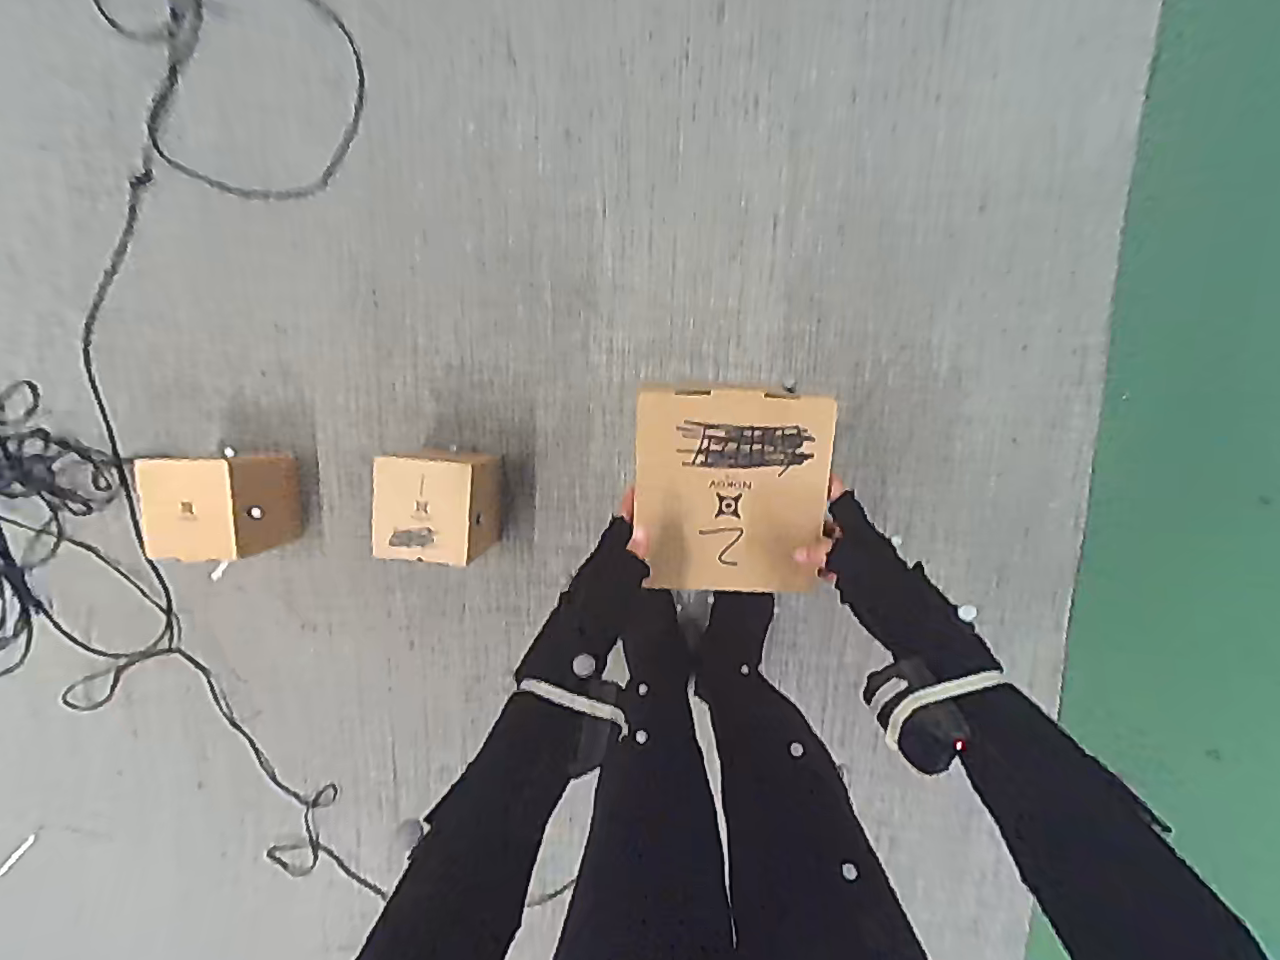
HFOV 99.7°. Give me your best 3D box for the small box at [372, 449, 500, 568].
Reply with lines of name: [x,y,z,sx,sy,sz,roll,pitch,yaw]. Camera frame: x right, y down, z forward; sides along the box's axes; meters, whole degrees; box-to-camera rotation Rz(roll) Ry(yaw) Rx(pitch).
small box: [-0.361,0.044,0.981,0.168,0.176,0.179,6,98,3]

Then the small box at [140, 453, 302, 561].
small box: [-0.763,0.041,1.003,0.168,0.176,0.179,1,98,3]
